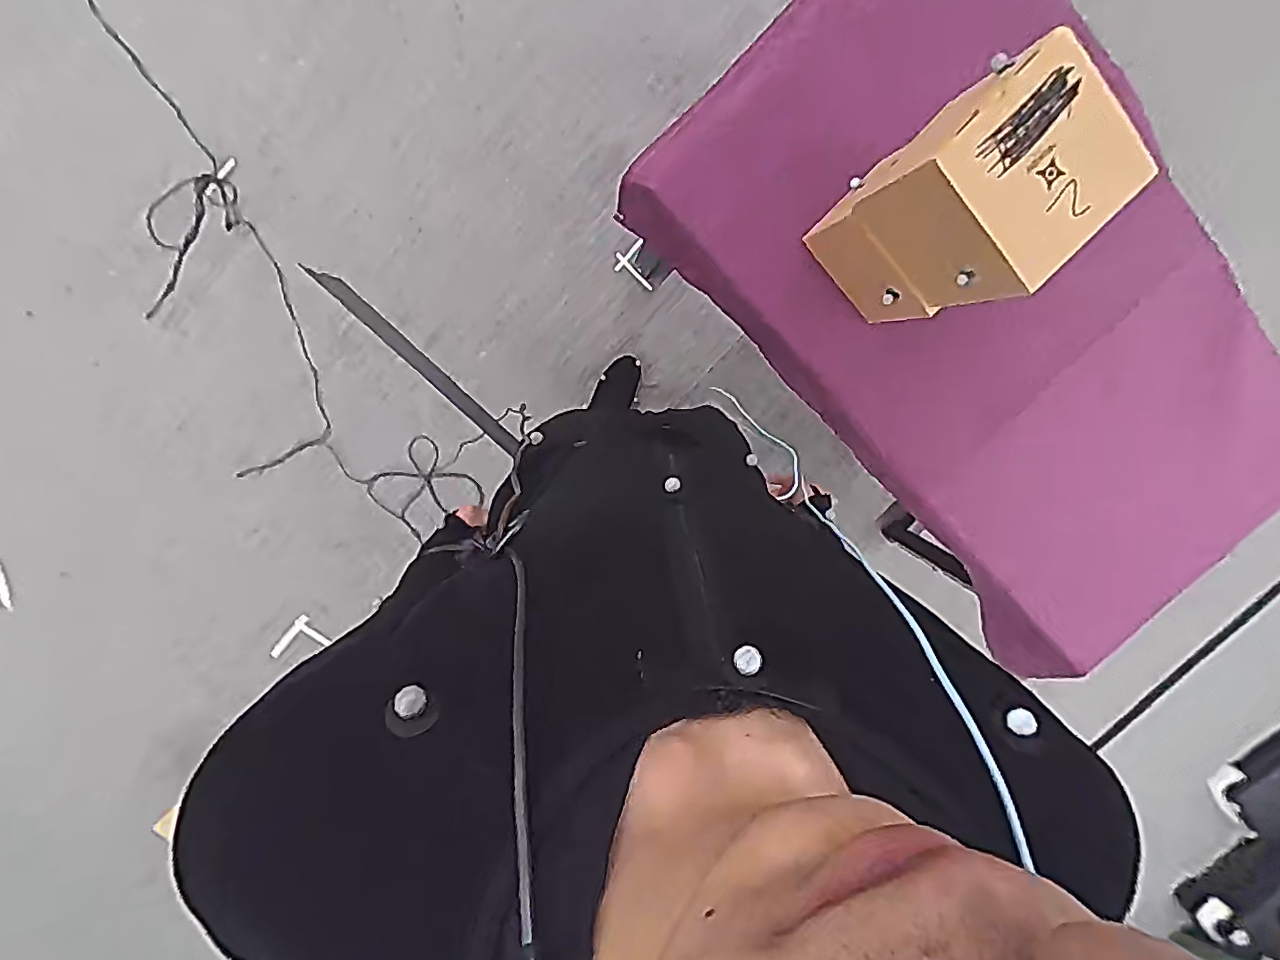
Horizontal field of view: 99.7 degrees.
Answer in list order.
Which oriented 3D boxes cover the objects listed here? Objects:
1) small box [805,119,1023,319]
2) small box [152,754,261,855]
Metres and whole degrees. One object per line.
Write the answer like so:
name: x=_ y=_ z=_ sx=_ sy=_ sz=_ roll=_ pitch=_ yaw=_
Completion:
small box: x=0.369 y=-0.346 z=0.759 sx=0.168 sy=0.176 sz=0.179 roll=-44 pitch=103 yaw=5
small box: x=-1.332 y=1.001 z=1.680 sx=0.179 sy=0.176 sz=0.168 roll=-42 pitch=102 yaw=6
